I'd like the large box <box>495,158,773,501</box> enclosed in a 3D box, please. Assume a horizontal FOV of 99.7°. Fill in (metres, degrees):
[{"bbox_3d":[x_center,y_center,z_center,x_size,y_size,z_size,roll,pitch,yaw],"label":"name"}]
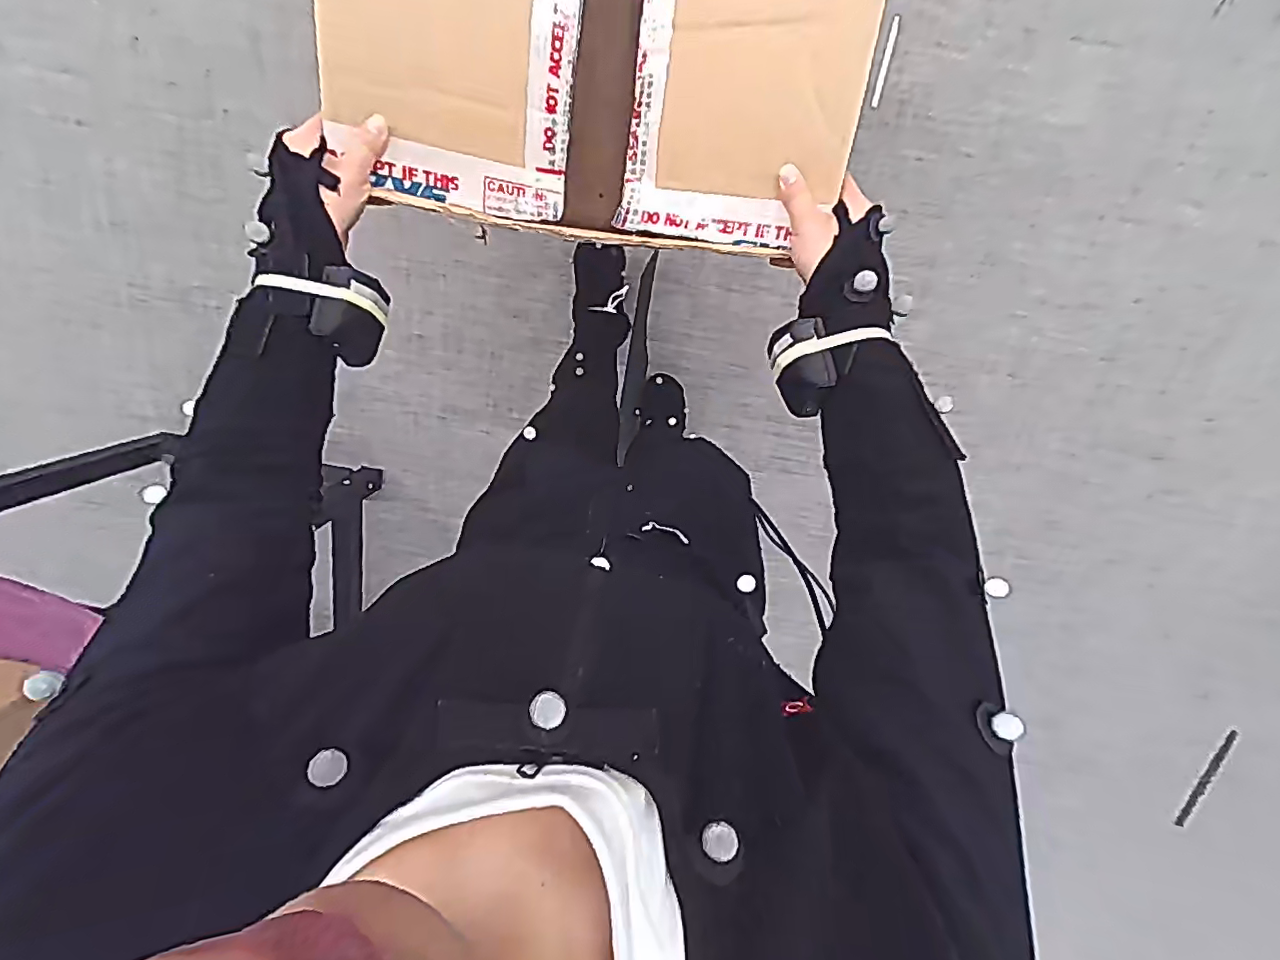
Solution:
[{"bbox_3d":[0.015,-0.191,0.856,0.320,0.408,0.320,-16,71,9],"label":"large box"}]
